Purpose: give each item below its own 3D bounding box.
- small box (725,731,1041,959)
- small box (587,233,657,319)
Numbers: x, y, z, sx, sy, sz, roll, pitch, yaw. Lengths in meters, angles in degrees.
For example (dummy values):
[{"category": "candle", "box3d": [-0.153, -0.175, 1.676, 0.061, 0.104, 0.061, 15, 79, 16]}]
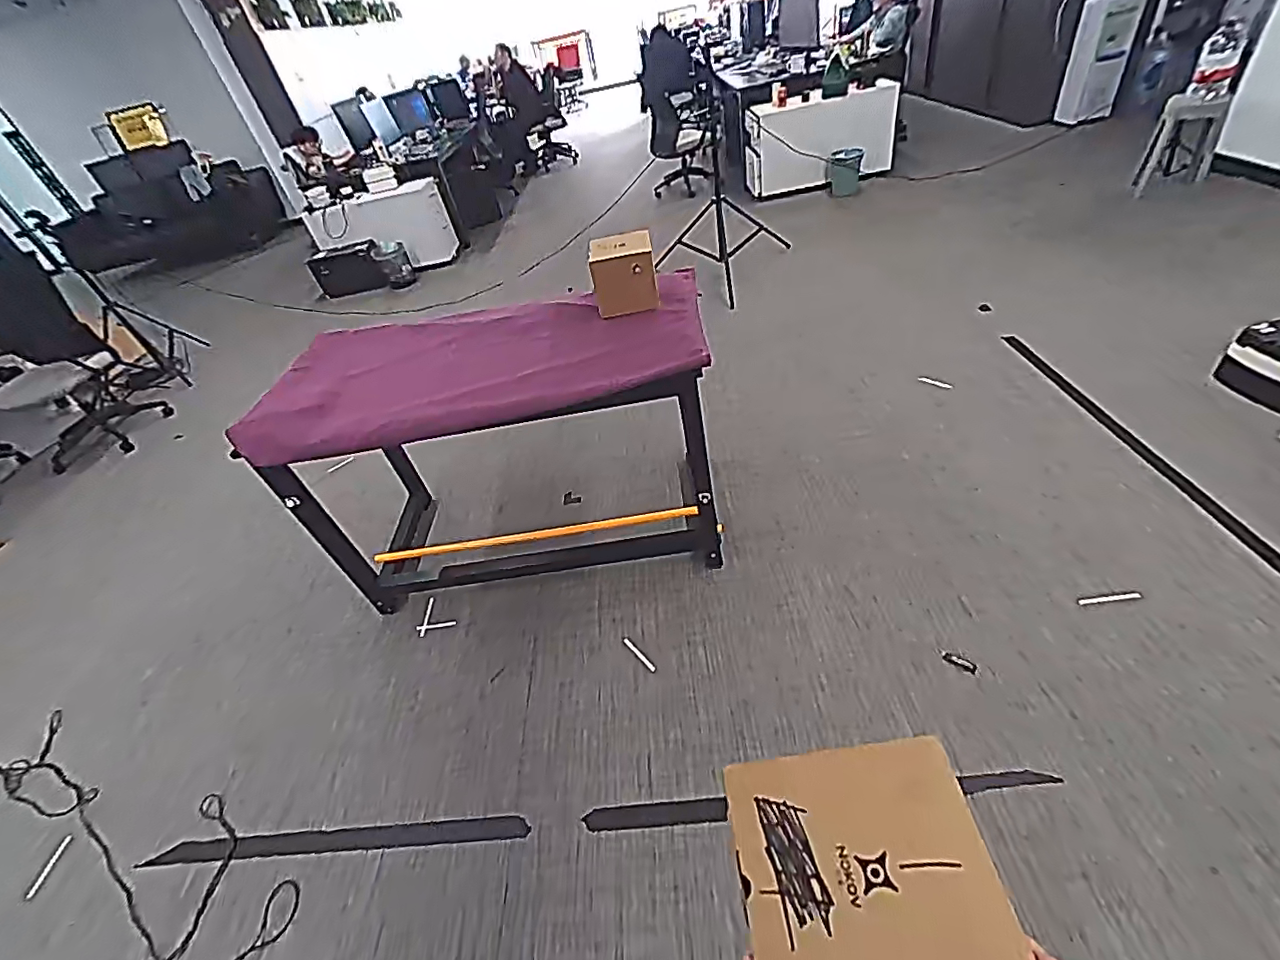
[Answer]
[{"category": "small box", "box3d": [0.178, 0.328, 0.435, 0.179, 0.176, 0.168, -12, 44, 7]}, {"category": "small box", "box3d": [-0.046, -0.585, 1.557, 0.179, 0.176, 0.168, -9, 42, 5]}]
